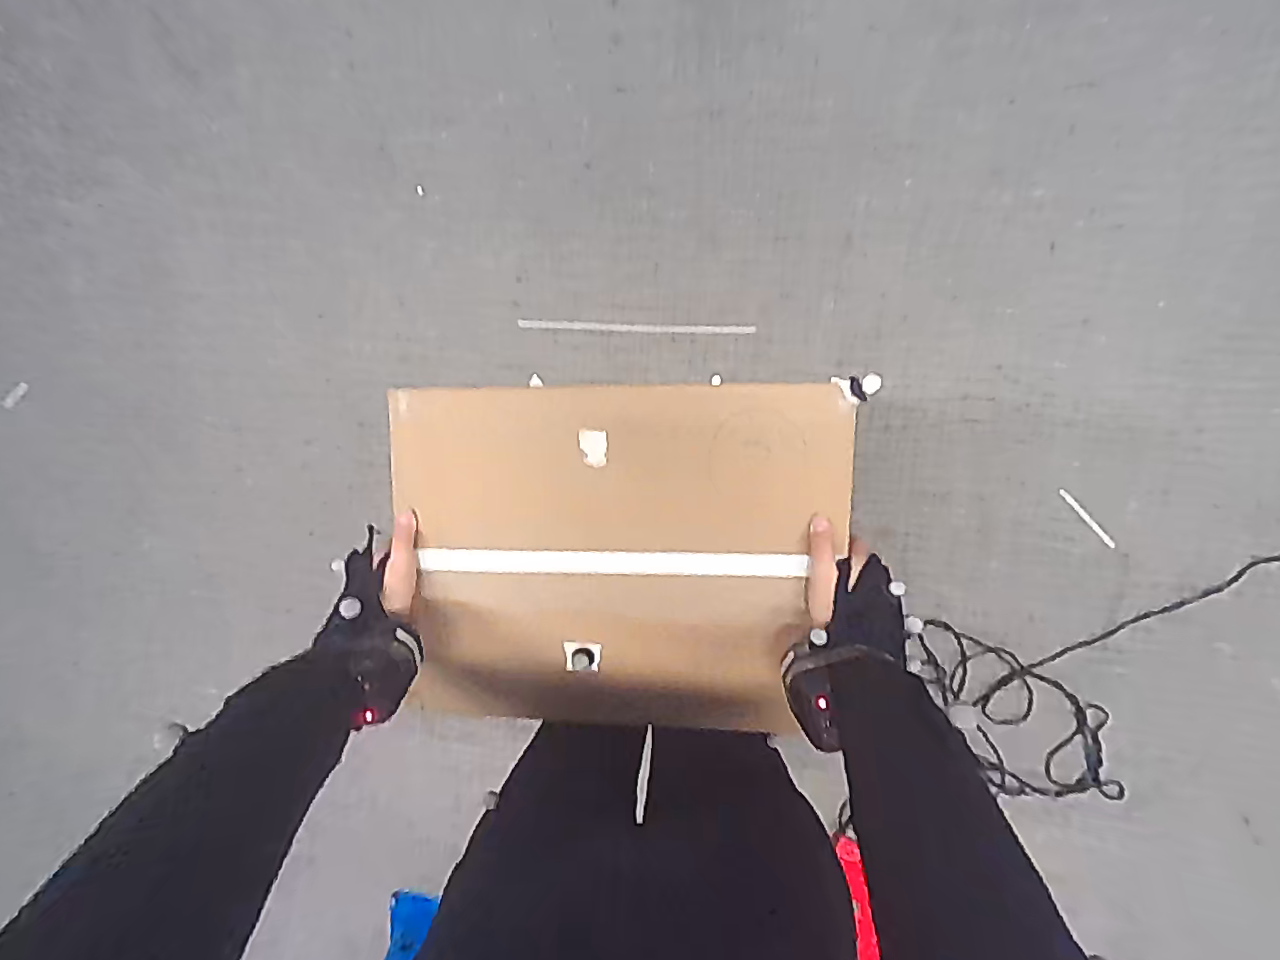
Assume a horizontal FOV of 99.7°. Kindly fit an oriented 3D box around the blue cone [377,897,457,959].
[{"bbox_3d":[-0.563,1.129,1.153,0.192,0.380,0.193,5,97,10],"label":"blue cone"}]
